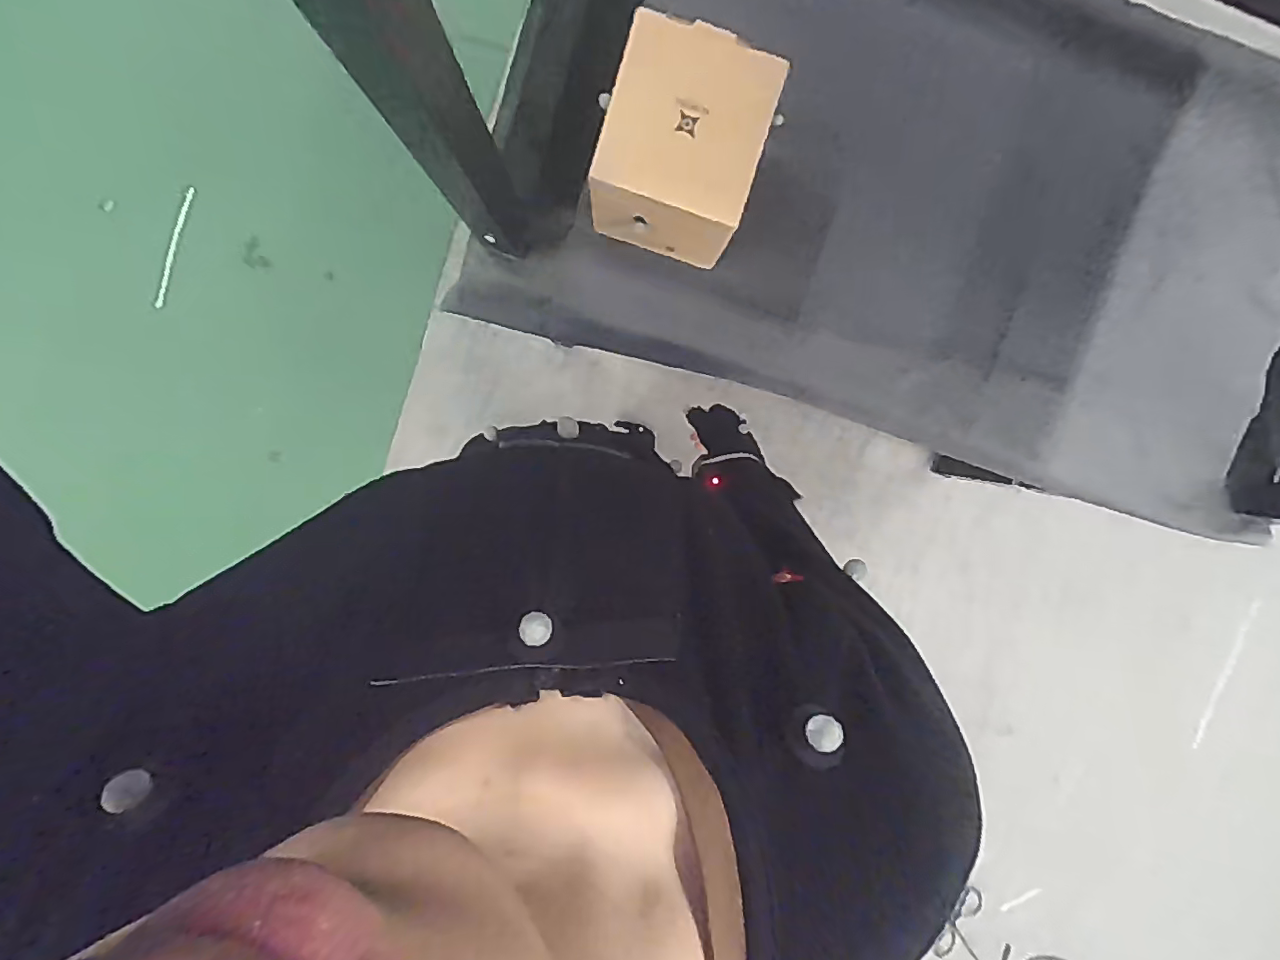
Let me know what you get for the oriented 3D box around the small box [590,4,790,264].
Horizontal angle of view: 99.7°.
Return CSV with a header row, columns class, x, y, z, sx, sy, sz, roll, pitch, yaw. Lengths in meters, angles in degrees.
class,x,y,z,sx,sy,sz,roll,pitch,yaw
small box,0.048,-0.377,0.630,0.168,0.176,0.179,17,94,-4
